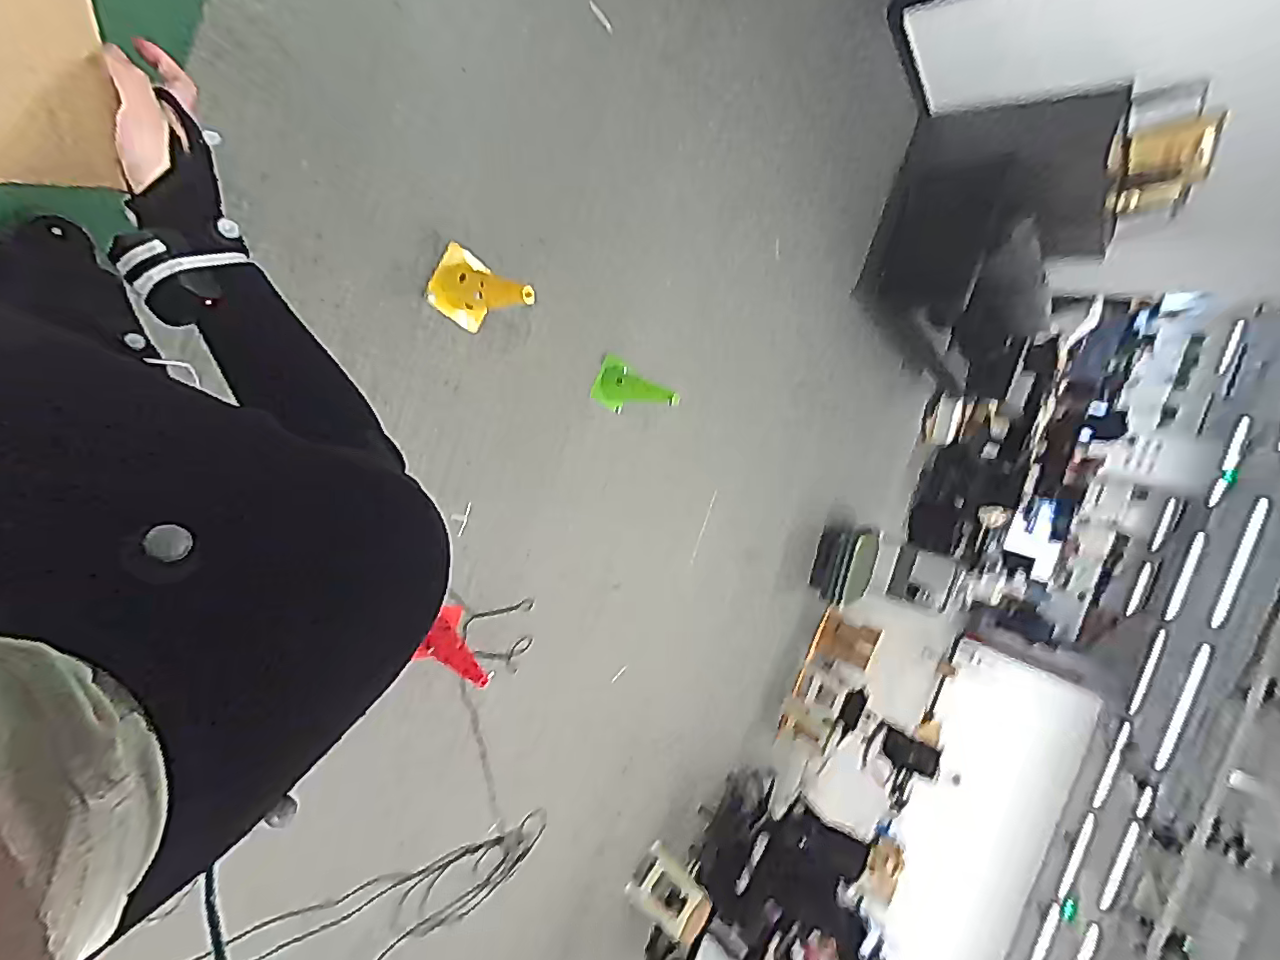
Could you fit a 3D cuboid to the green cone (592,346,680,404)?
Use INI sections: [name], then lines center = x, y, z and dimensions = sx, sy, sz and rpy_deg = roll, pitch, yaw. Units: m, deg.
[green cone]
center = 0.018, -0.393, 2.158
dimensions = 0.202, 0.368, 0.200
rpy_deg = 24, 87, -49
